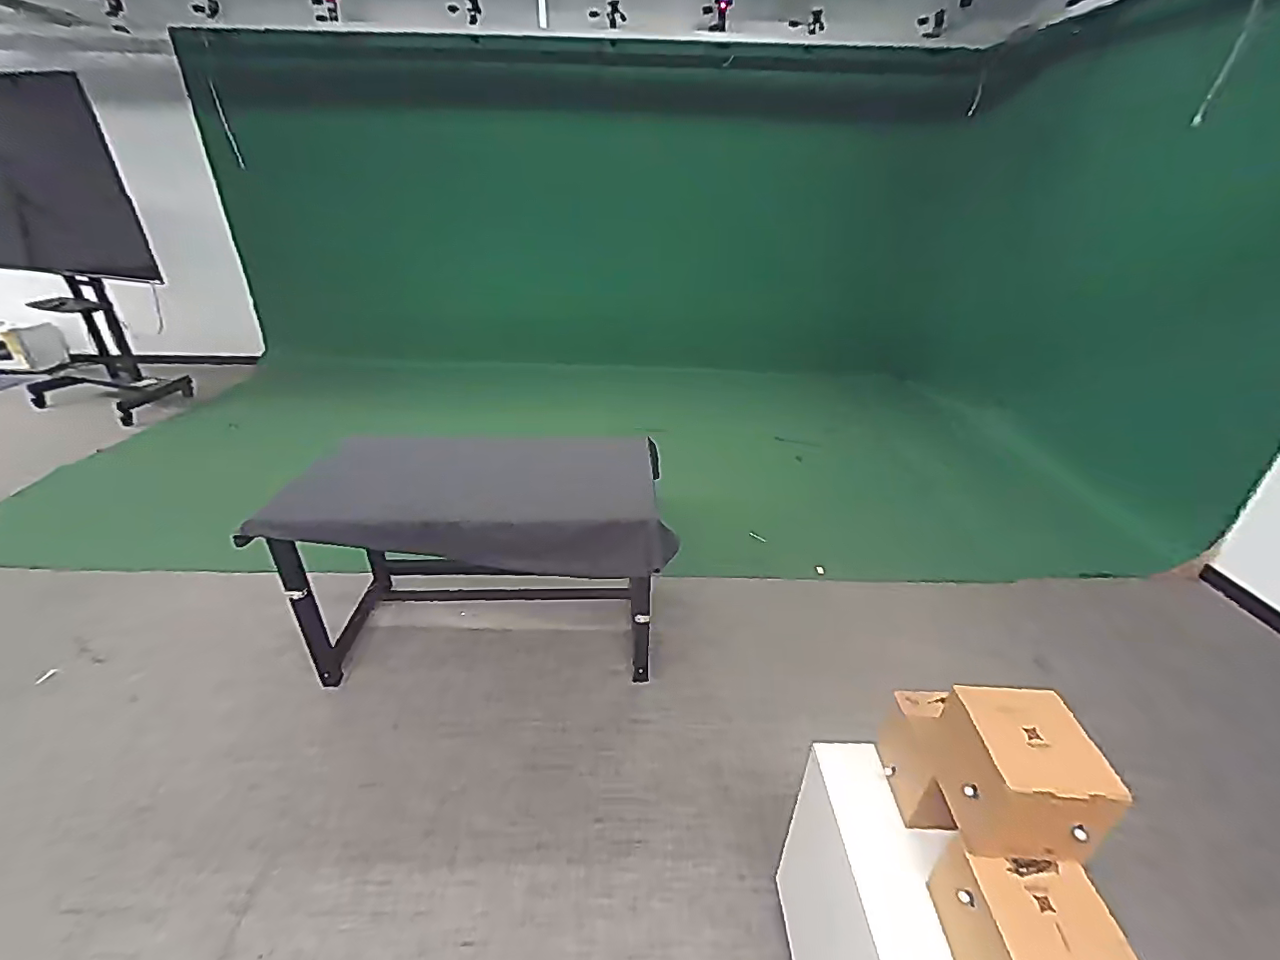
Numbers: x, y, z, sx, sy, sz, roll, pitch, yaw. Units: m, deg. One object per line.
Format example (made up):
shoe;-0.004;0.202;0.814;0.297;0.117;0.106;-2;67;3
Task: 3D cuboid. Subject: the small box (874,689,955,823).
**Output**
small box;0.567;0.523;1.020;0.168;0.176;0.179;1;32;0

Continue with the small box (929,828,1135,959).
small box;0.556;0.650;0.793;0.168;0.176;0.179;2;30;2

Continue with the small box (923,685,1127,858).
small box;0.569;0.444;0.830;0.168;0.176;0.179;3;29;1
